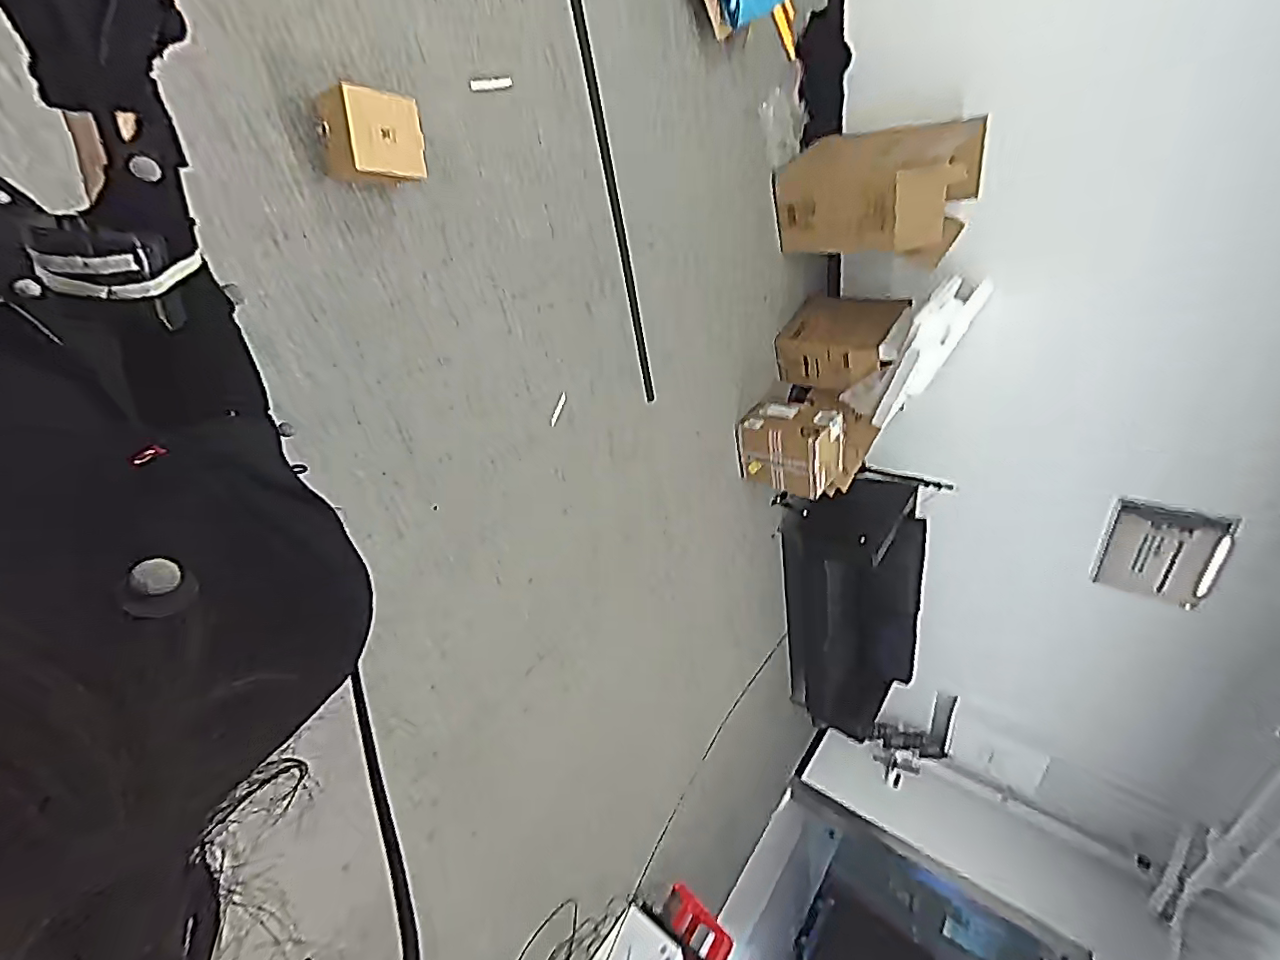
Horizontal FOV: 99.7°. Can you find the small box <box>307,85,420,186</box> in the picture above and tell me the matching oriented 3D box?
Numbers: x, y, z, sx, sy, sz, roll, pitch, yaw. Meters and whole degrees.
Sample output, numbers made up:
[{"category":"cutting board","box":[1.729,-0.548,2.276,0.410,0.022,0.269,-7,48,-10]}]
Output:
[{"category":"small box","box":[-0.657,-0.810,1.291,0.179,0.176,0.168,-22,119,-45]}]
